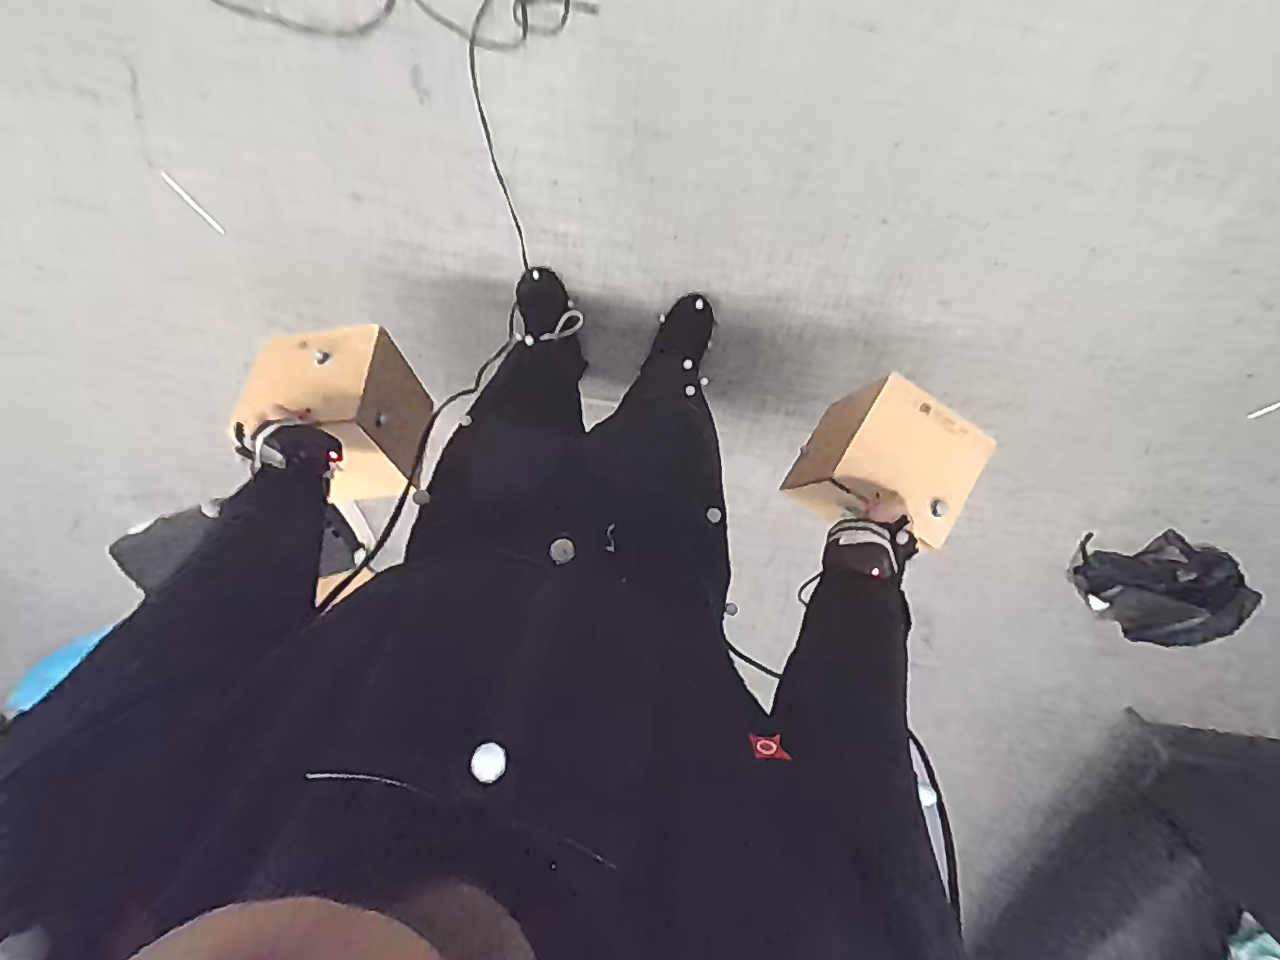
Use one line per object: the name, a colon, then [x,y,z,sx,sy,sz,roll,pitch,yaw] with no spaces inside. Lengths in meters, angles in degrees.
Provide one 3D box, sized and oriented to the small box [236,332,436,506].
small box: [-0.410,-0.082,0.769,0.168,0.176,0.179,-7,149,5]
